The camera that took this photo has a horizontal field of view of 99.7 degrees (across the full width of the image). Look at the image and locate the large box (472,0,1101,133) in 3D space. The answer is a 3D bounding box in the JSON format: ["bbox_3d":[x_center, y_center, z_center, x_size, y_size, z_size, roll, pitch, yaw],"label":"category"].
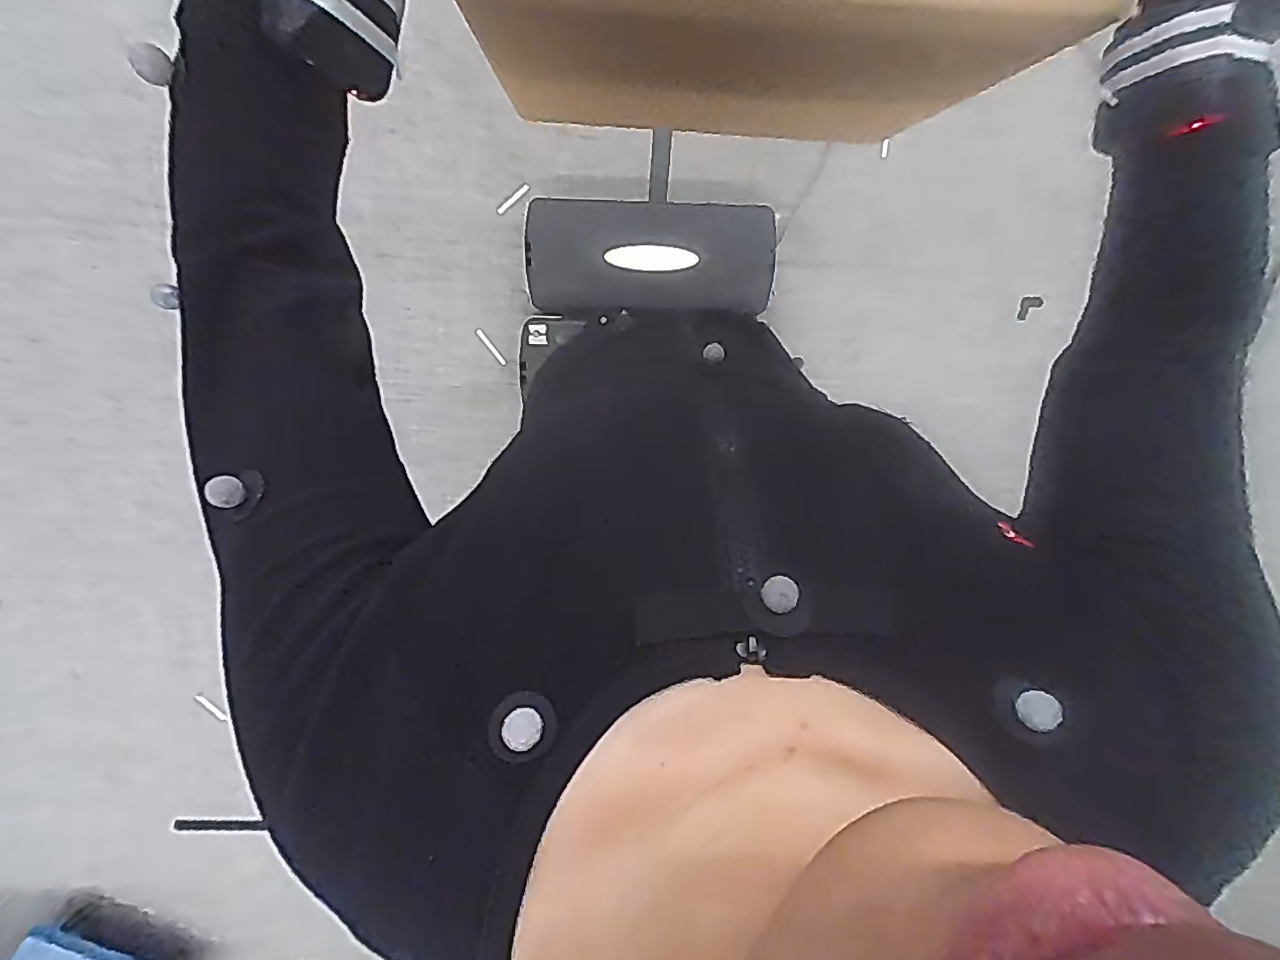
[{"bbox_3d":[0.081,-0.483,0.409,0.408,0.320,0.320,0,111,-4],"label":"large box"}]

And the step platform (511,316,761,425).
[{"bbox_3d":[-0.010,-0.305,1.511,0.684,0.204,0.286,0,107,-2],"label":"step platform"}]
